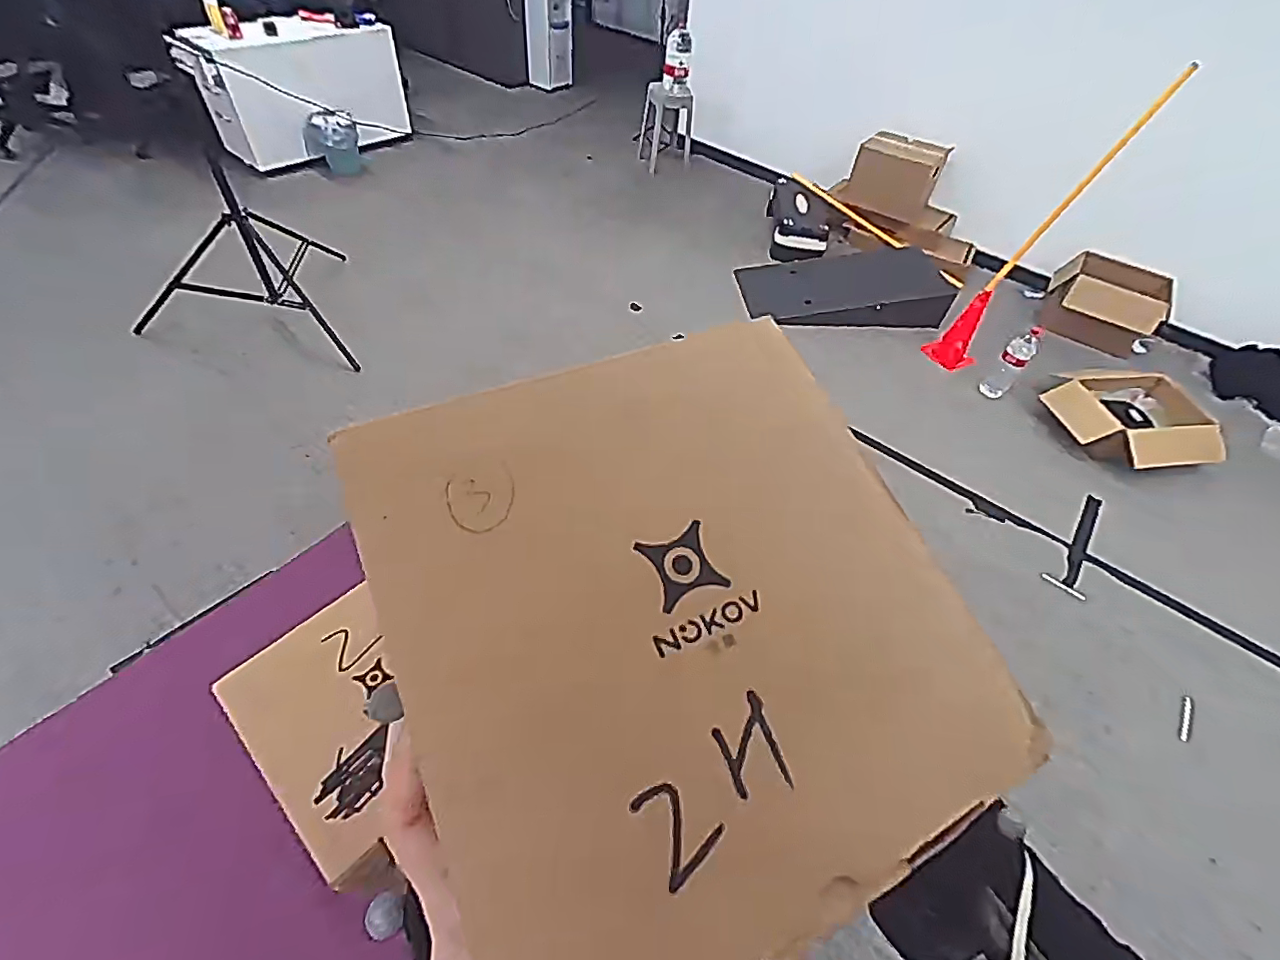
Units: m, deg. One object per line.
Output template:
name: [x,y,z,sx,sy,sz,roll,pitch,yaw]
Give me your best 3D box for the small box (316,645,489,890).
small box: [-0.202,0.304,0.584,0.179,0.176,0.168,37,57,22]
